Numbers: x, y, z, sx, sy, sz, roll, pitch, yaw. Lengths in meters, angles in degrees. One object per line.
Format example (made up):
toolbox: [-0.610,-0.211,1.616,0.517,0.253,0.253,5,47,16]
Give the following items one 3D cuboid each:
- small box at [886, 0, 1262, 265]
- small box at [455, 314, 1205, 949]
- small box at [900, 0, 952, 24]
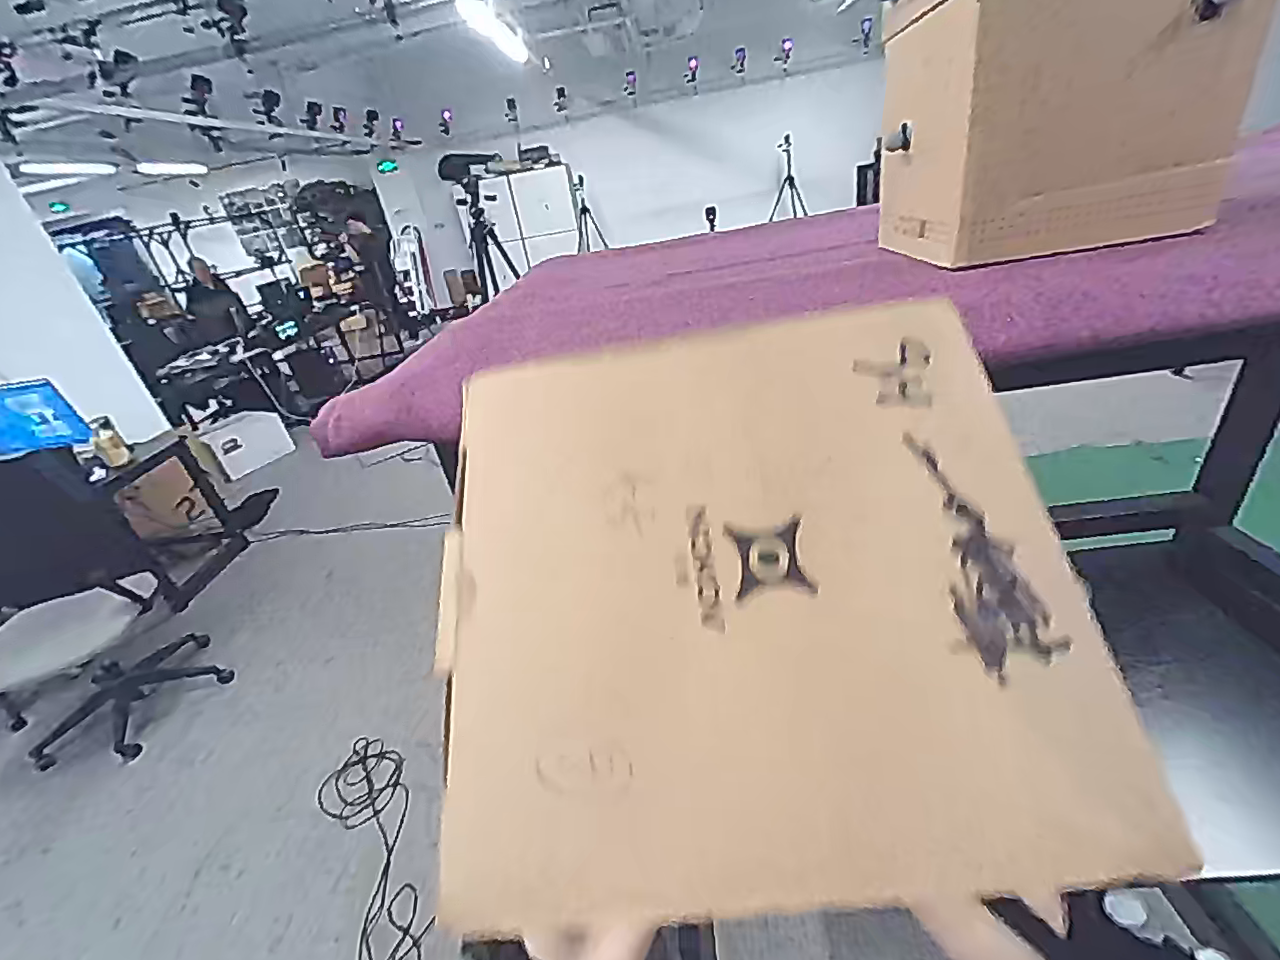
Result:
small box: [0.304,-0.272,0.416,0.179,0.176,0.168,-6,29,7]
small box: [0.043,0.061,0.230,0.179,0.176,0.168,-8,67,5]
small box: [0.278,-0.417,0.343,0.179,0.176,0.168,-5,29,7]
